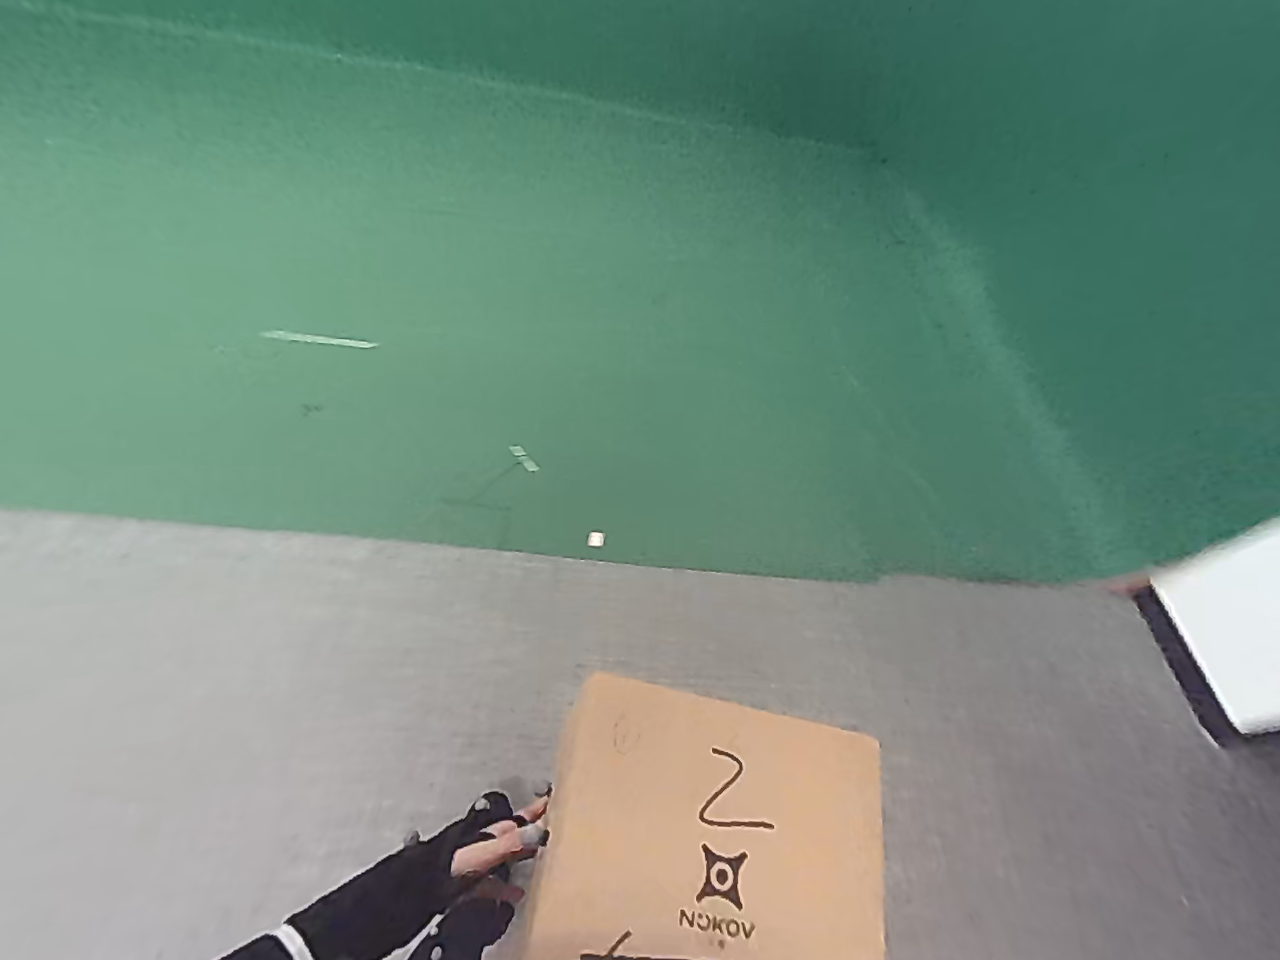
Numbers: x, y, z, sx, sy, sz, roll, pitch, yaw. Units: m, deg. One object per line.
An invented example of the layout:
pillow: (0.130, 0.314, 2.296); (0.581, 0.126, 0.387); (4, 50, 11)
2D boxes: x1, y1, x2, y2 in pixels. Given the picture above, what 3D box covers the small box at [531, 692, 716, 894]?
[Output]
small box: (-0.022, 0.357, 0.636); (0.179, 0.176, 0.168); (11, 61, -4)
